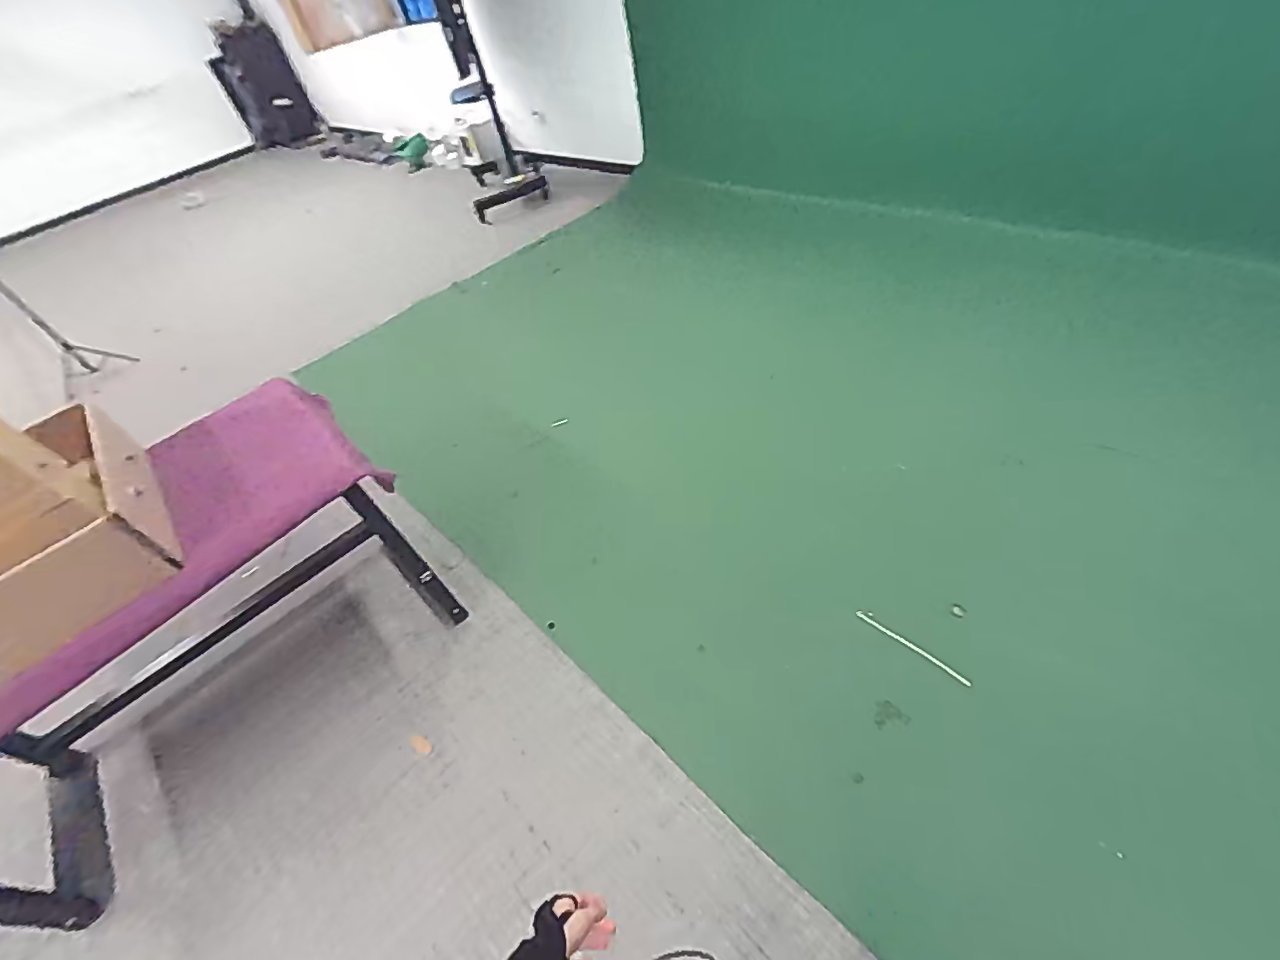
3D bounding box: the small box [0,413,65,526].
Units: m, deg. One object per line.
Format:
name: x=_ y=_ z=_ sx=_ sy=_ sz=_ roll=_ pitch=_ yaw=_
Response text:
small box: x=-1.184 y=-0.011 z=0.948 sx=0.179 sy=0.176 sz=0.168 roll=-39 pitch=50 yaw=-22
